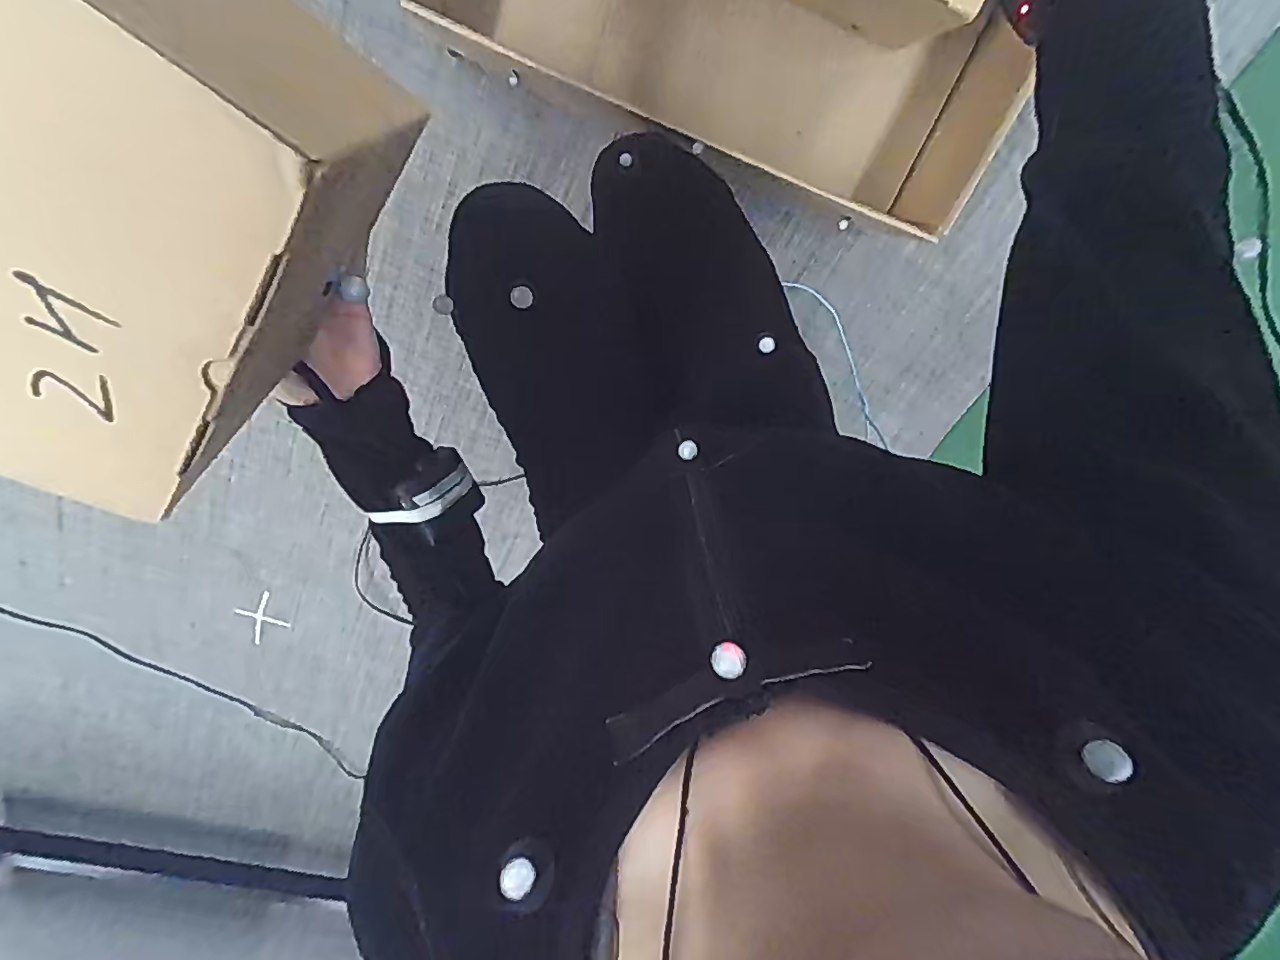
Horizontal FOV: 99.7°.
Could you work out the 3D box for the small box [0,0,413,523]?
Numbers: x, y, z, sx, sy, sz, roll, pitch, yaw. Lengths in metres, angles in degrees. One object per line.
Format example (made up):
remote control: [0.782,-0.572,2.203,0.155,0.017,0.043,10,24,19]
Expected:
small box: [-0.222,-0.121,0.215,0.179,0.176,0.168,31,118,-29]
